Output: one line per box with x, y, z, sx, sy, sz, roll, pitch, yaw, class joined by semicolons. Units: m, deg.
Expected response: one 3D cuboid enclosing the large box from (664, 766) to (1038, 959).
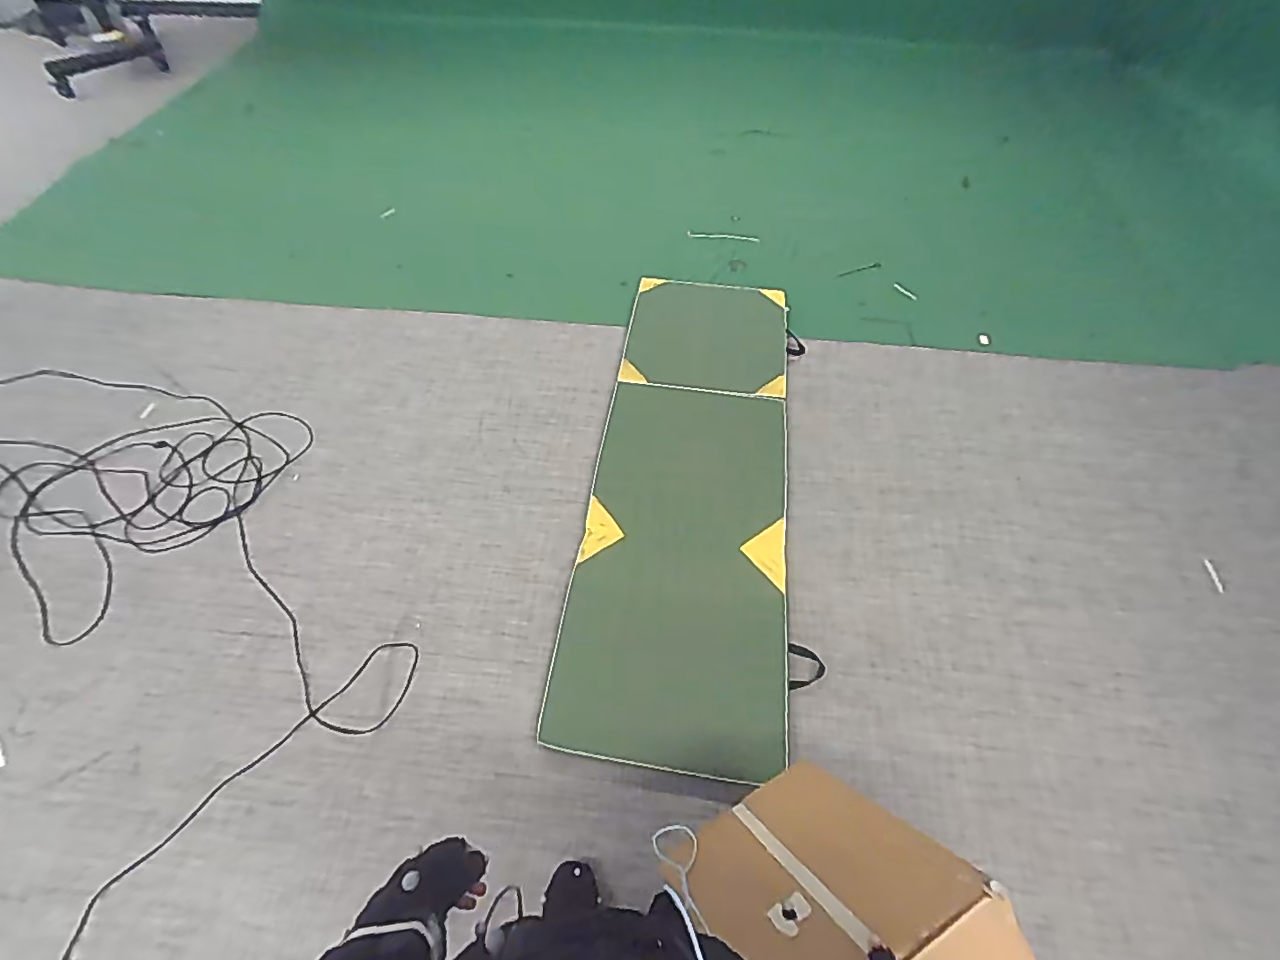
0.280;0.671;0.730;0.320;0.408;0.320;-24;87;-17;large box
